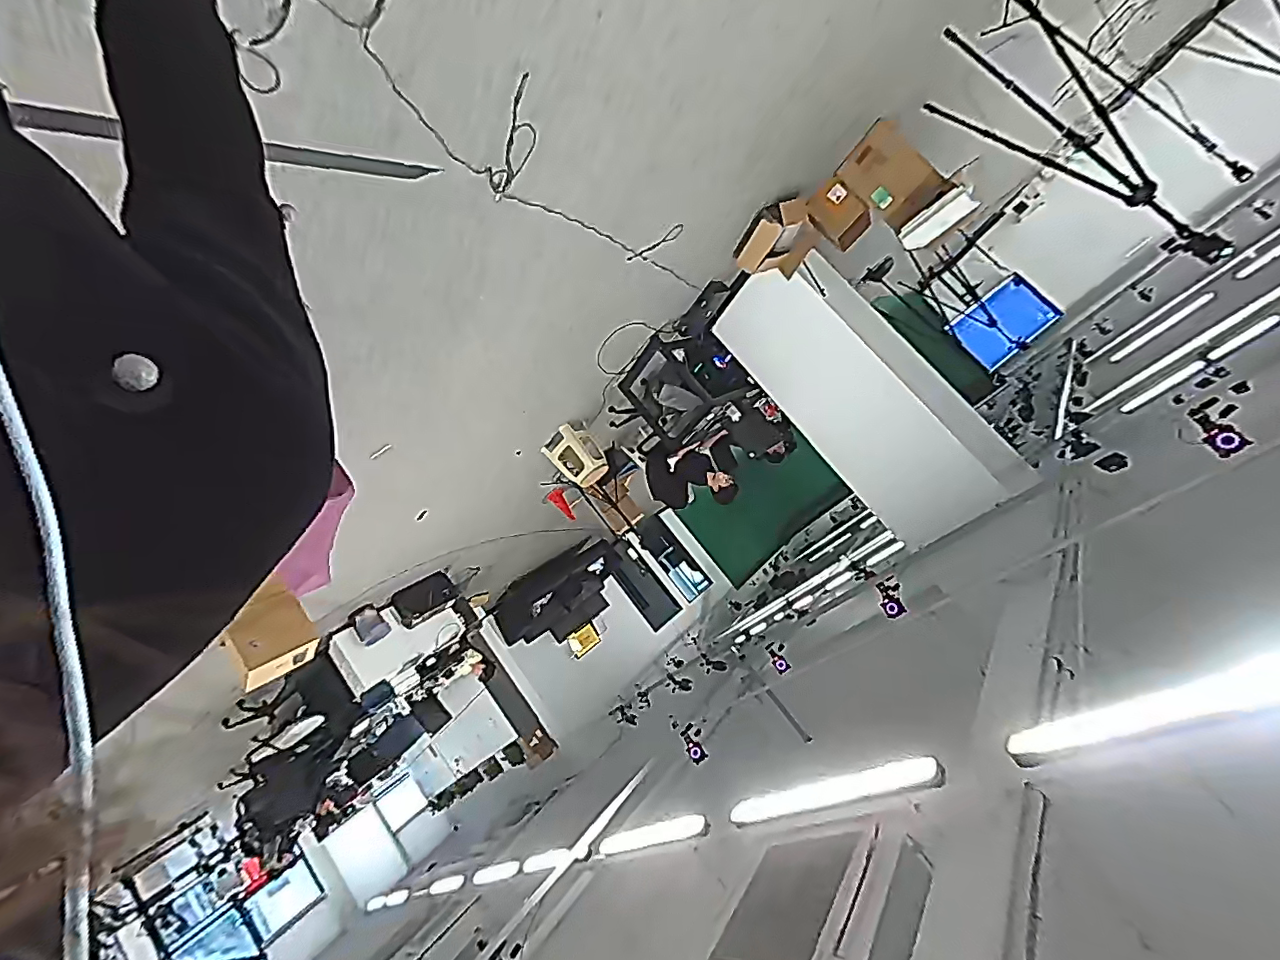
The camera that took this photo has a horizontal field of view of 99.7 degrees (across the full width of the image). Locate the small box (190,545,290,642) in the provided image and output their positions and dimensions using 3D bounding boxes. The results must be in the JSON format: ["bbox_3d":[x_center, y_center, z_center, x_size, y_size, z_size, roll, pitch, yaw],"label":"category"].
[{"bbox_3d":[-1.115,0.310,1.501,0.179,0.176,0.168,-26,164,-49],"label":"small box"}]
